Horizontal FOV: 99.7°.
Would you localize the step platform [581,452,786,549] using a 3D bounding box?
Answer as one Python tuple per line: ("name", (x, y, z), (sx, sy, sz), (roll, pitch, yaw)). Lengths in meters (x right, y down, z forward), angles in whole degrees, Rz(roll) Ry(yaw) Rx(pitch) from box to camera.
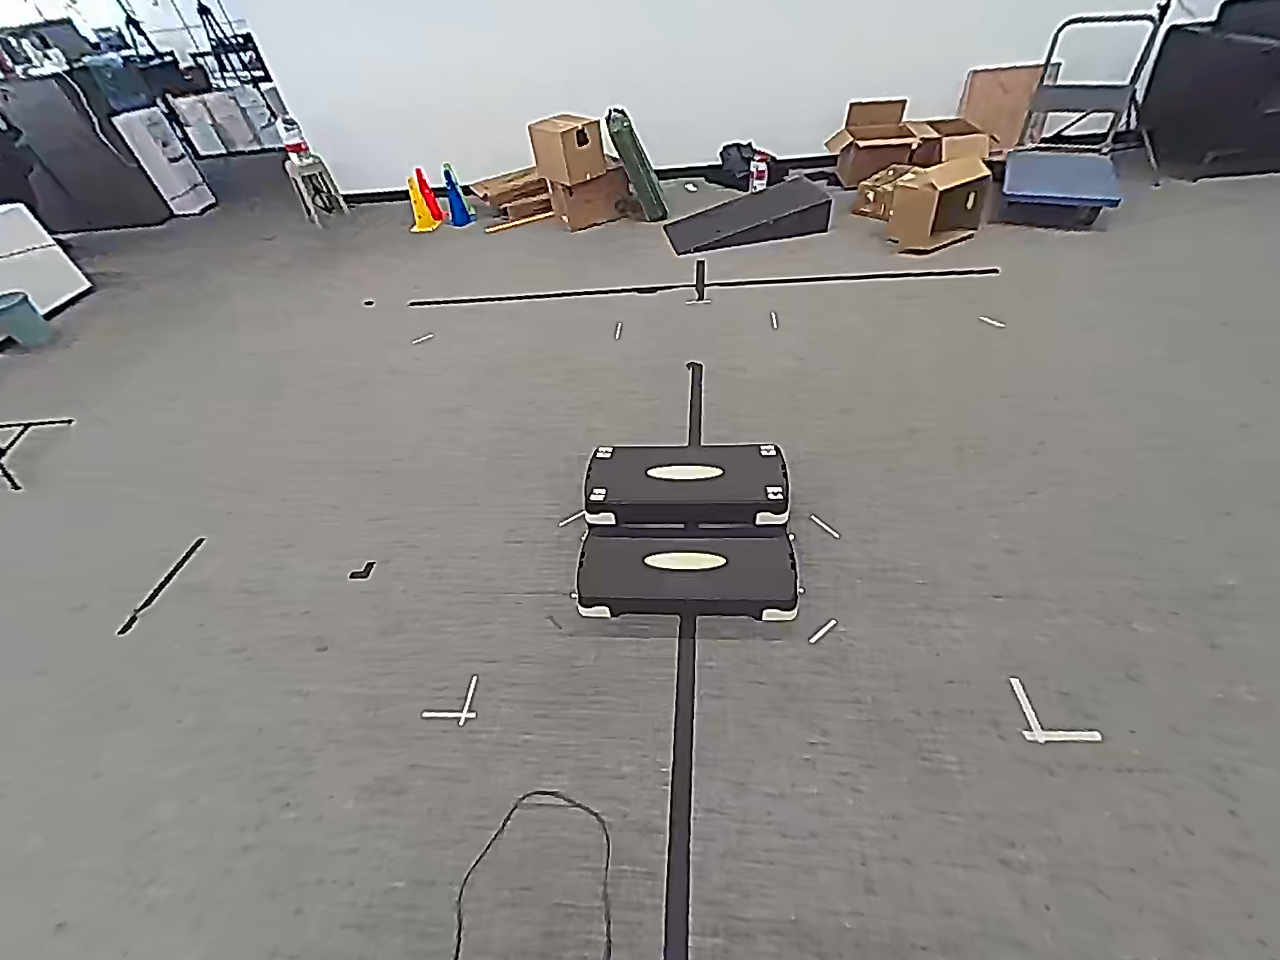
("step platform", (0.141, 0.064, 1.837), (0.684, 0.204, 0.286), (-1, 46, 6))
